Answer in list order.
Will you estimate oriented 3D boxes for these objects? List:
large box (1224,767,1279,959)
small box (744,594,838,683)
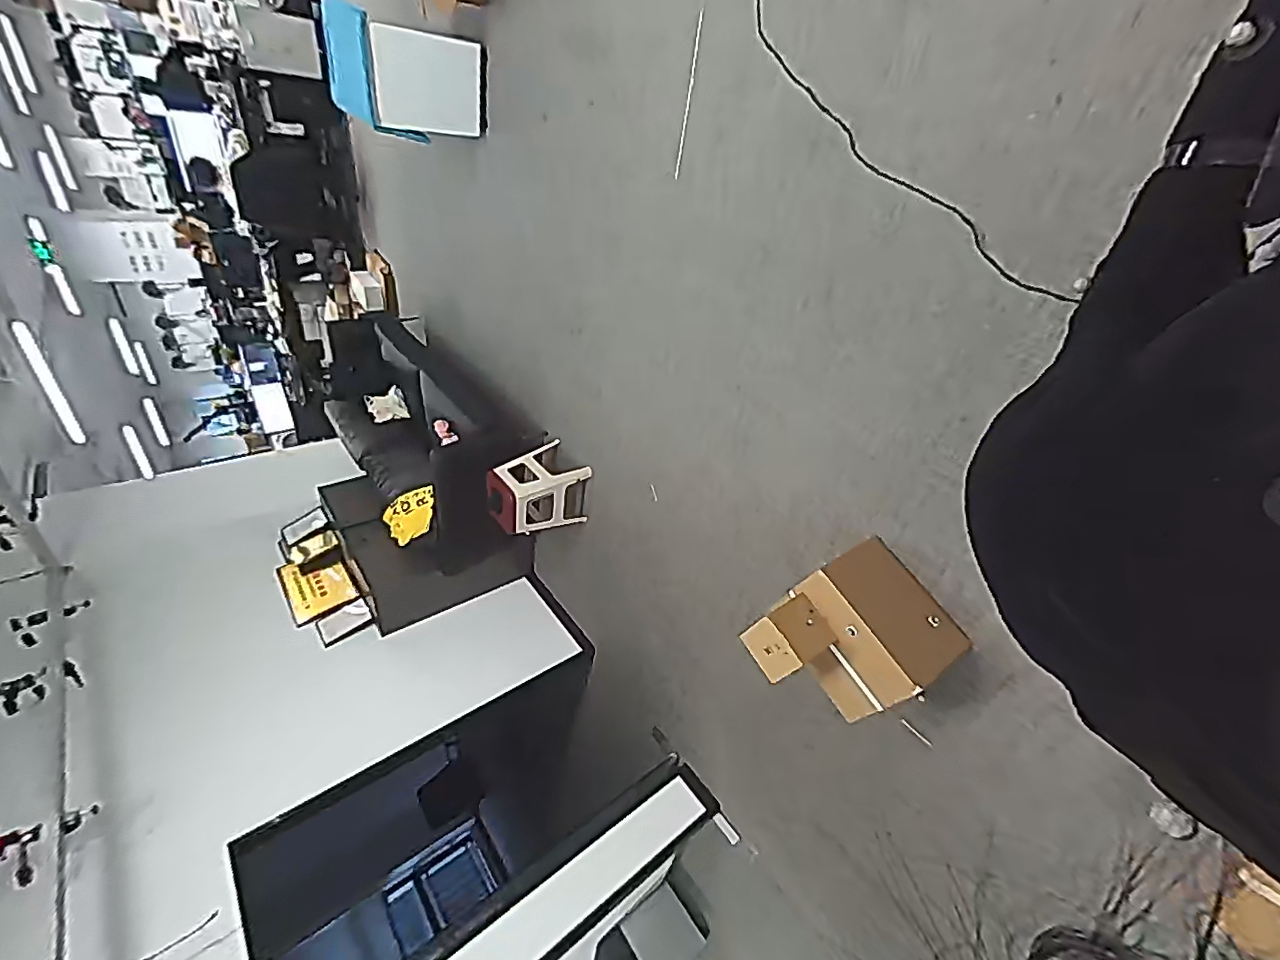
[{"bbox_3d":[1.358,0.737,0.927,0.408,0.320,0.320,26,126,44],"label":"large box"},{"bbox_3d":[0.451,0.470,1.610,0.168,0.176,0.179,55,144,21],"label":"small box"}]
